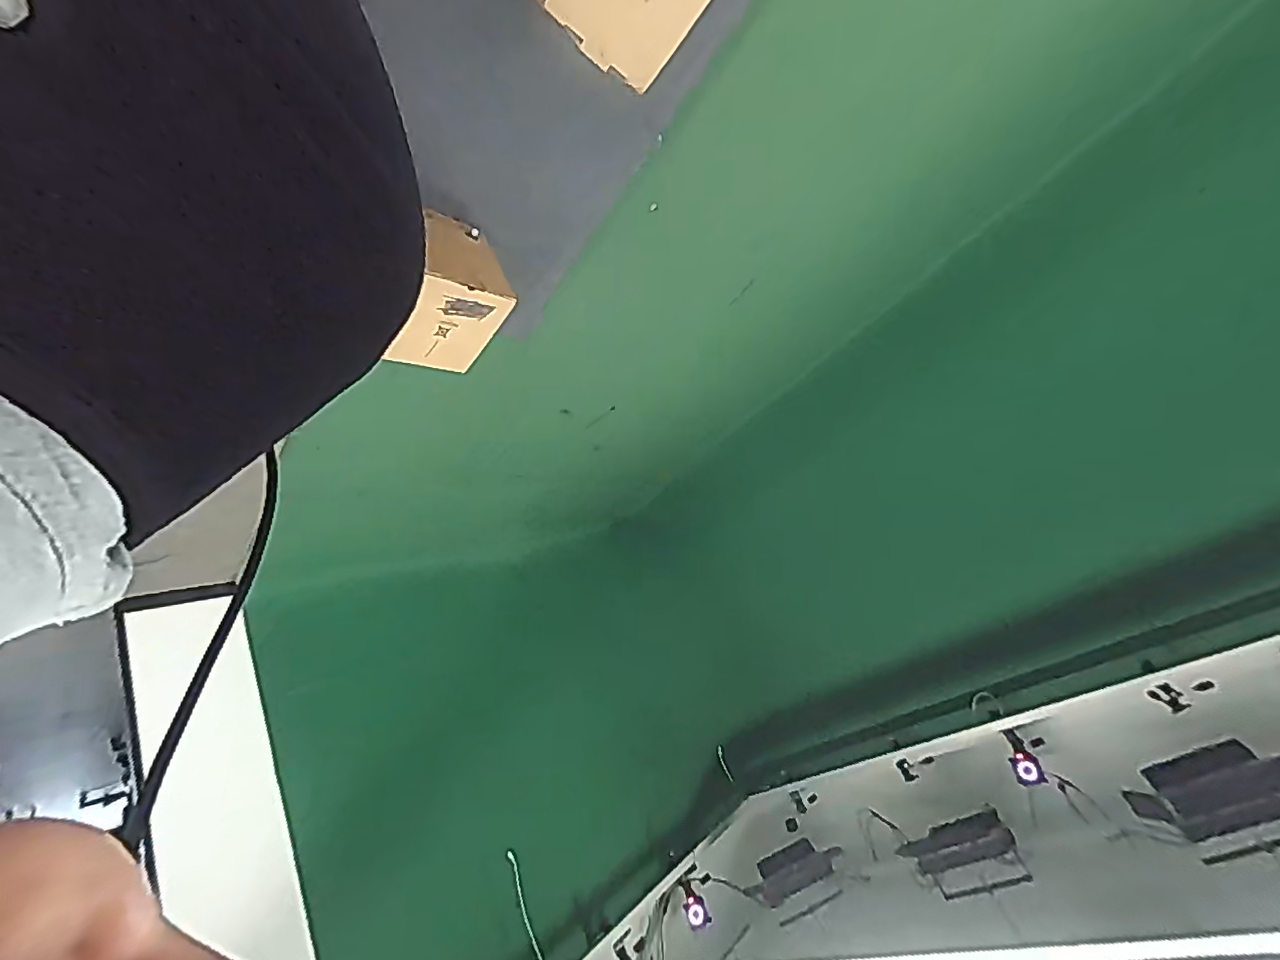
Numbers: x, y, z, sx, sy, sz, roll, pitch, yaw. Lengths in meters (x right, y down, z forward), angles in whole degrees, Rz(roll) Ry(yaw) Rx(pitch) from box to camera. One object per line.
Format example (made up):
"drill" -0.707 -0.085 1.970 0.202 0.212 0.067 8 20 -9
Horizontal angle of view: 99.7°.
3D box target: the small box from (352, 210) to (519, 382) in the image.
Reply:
"small box" -0.329 -0.285 0.857 0.179 0.176 0.168 -41 156 31

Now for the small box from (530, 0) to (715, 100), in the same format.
"small box" -0.030 -0.572 0.576 0.179 0.176 0.168 -43 157 31
